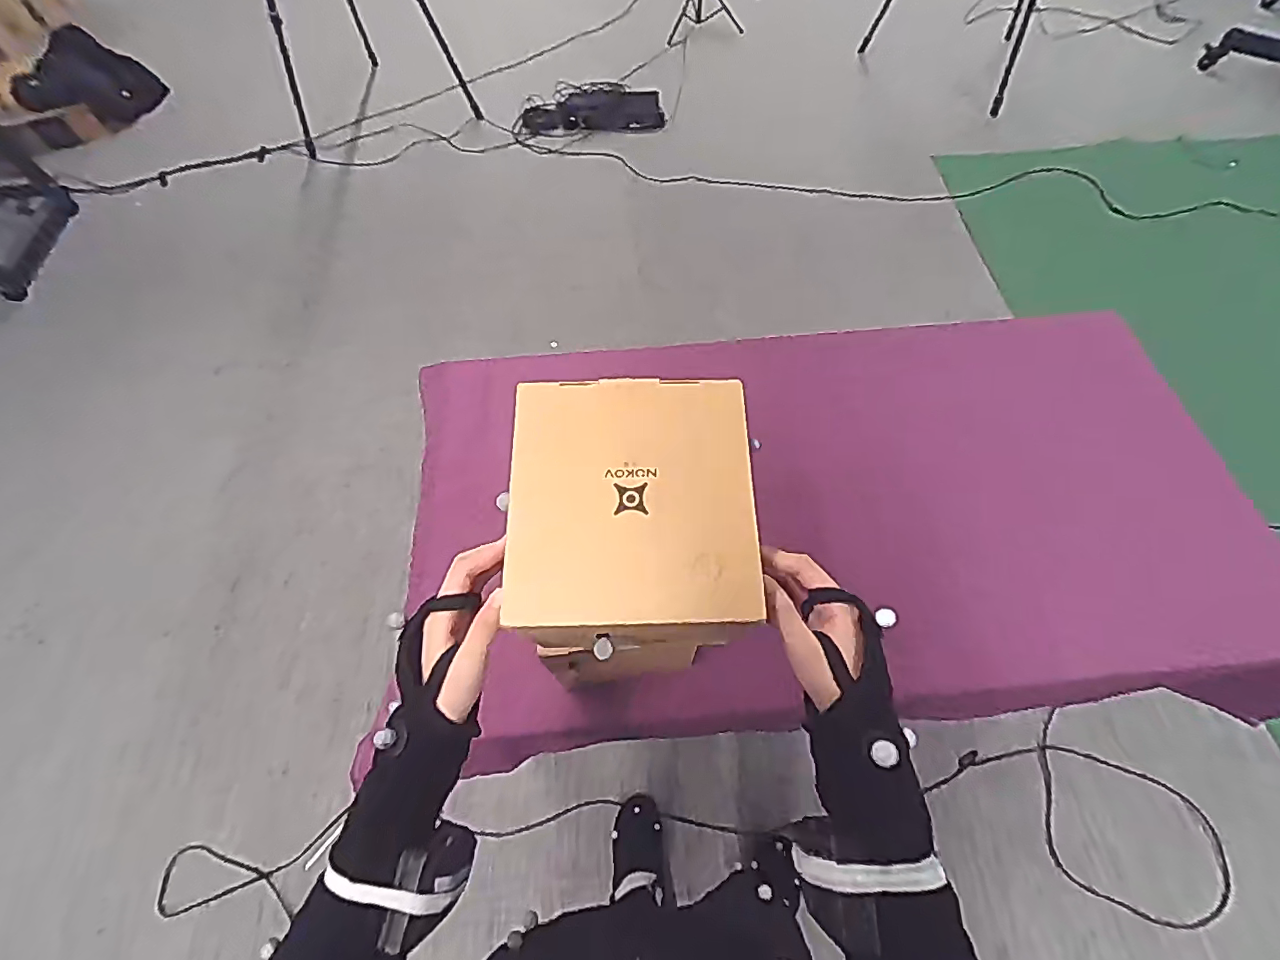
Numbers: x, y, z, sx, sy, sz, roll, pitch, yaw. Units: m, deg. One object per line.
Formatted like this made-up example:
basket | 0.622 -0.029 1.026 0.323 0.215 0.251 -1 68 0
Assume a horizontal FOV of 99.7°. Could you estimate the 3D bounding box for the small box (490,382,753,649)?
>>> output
small box | -0.010 0.040 0.433 0.168 0.176 0.179 0 68 0
